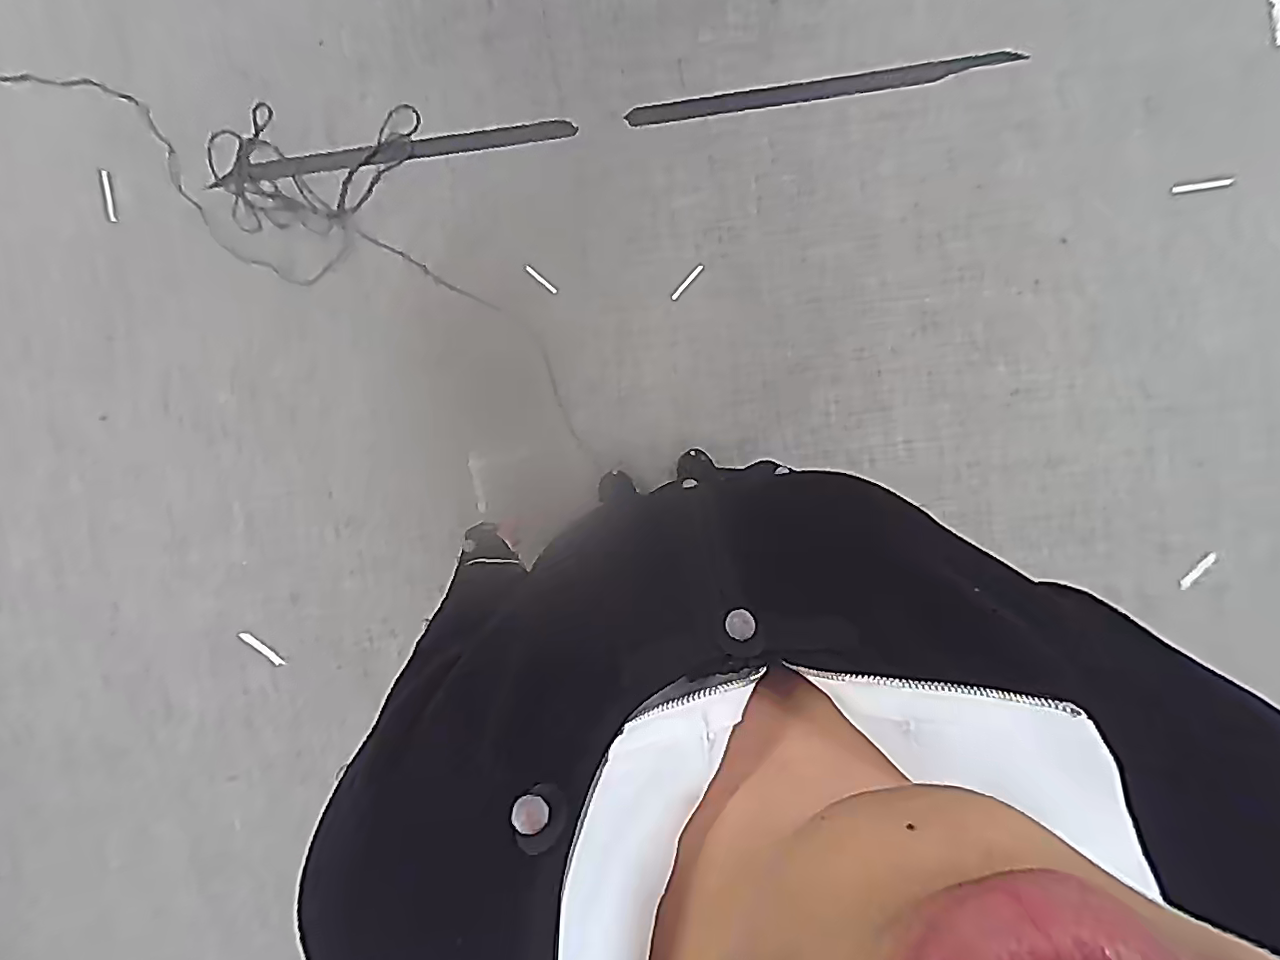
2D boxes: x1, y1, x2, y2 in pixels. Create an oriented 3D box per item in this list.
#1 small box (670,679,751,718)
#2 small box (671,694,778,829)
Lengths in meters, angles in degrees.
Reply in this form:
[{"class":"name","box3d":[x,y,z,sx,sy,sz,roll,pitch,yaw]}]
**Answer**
[{"class":"small box","box3d":[0.168,0.551,1.258,0.179,0.176,0.168,-12,93,2]},{"class":"small box","box3d":[0.164,0.559,1.094,0.179,0.176,0.168,-13,94,2]}]
